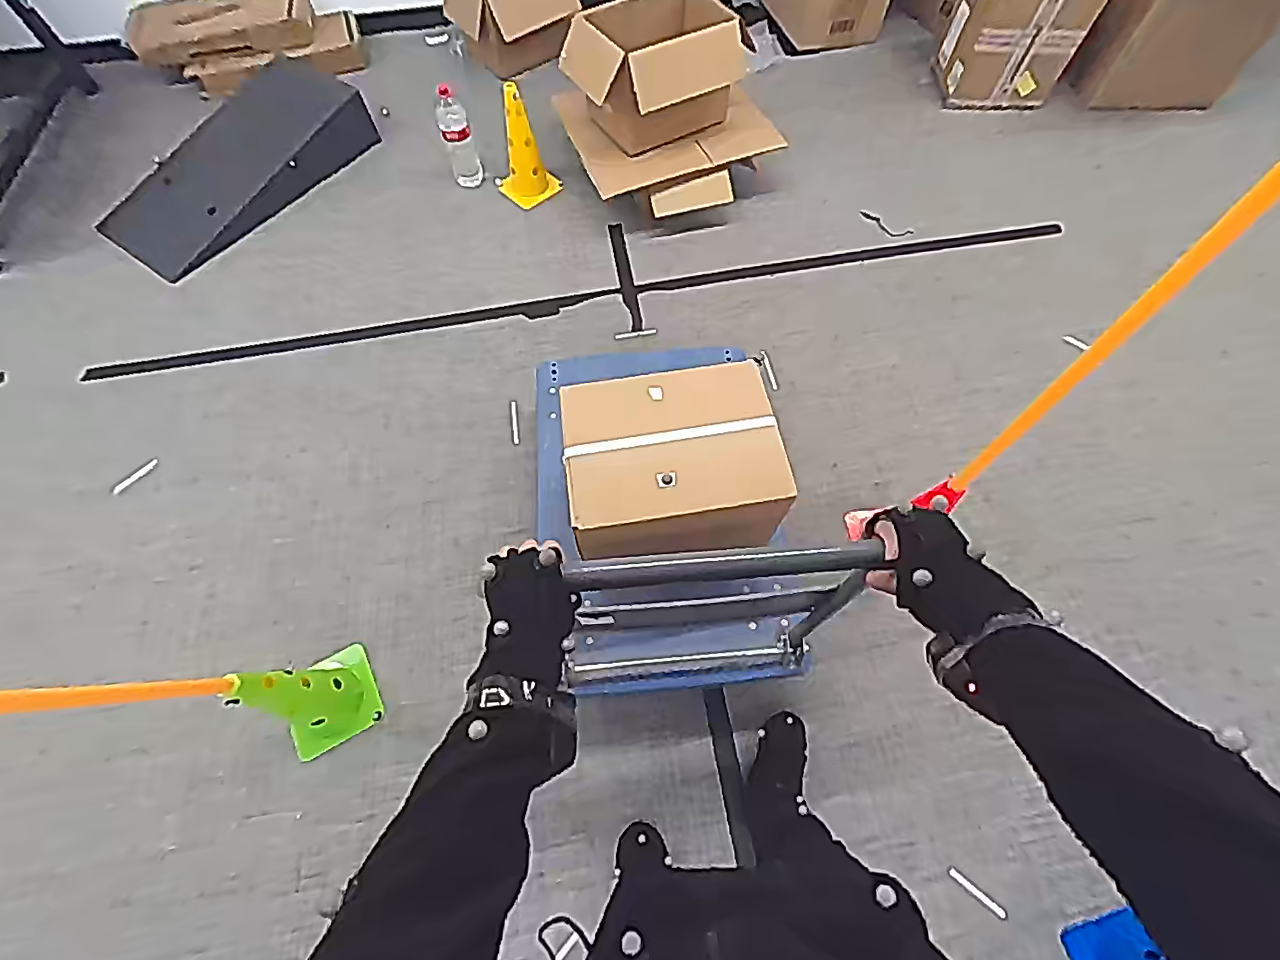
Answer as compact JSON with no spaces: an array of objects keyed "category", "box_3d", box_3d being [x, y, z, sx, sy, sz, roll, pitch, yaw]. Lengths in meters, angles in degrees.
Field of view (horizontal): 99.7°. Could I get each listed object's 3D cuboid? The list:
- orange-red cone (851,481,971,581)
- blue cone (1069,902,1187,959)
[{"category":"orange-red cone","box_3d":[0.667,0.093,1.269,0.199,0.360,0.198,-3,64,-2]},{"category":"blue cone","box_3d":[0.949,0.873,0.893,0.193,0.380,0.192,-13,63,-6]}]
